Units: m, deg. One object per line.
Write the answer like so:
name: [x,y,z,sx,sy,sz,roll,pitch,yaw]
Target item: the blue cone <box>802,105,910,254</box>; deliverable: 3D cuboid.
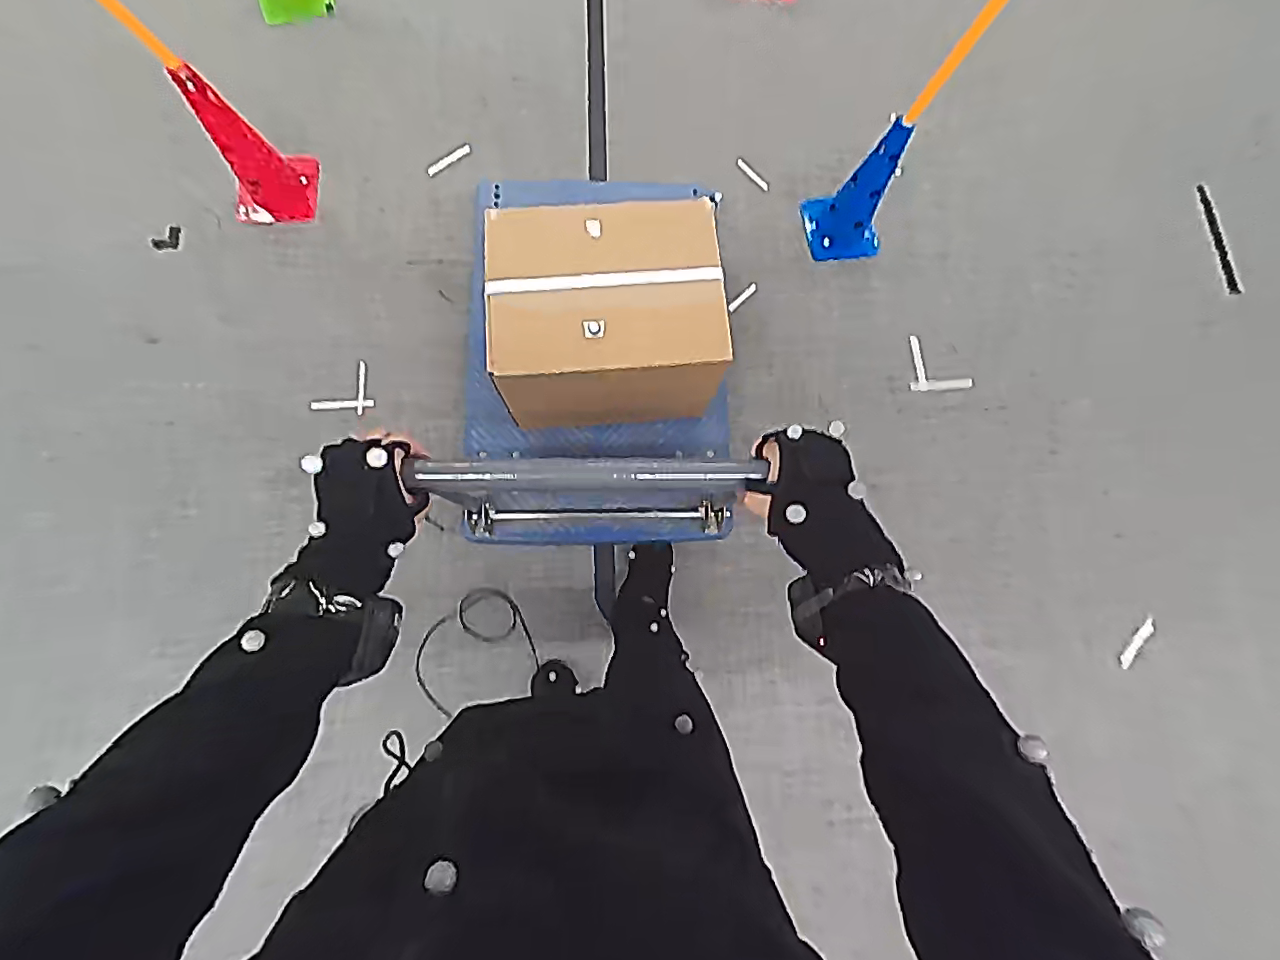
blue cone: [0.575,-0.766,1.377,0.193,0.380,0.192,-6,77,-5]
